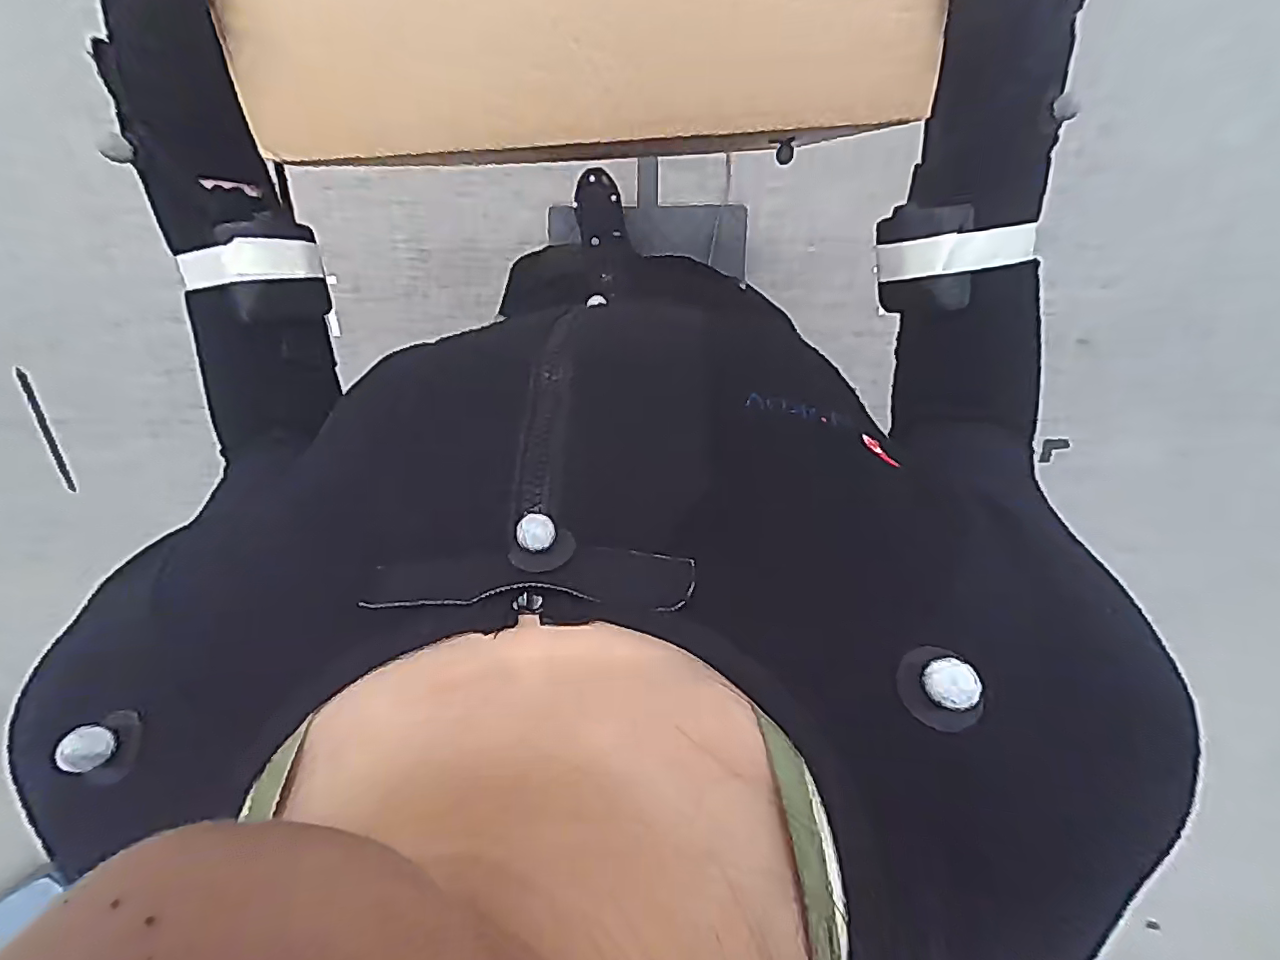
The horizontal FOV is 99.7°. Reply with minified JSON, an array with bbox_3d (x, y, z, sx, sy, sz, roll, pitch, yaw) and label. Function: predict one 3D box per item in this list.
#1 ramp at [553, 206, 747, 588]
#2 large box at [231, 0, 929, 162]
[{"bbox_3d":[0.018,-0.188,1.440,0.509,0.206,0.991,0,111,5],"label":"ramp"},{"bbox_3d":[-0.035,-0.423,0.391,0.408,0.320,0.320,-1,119,4],"label":"large box"}]
